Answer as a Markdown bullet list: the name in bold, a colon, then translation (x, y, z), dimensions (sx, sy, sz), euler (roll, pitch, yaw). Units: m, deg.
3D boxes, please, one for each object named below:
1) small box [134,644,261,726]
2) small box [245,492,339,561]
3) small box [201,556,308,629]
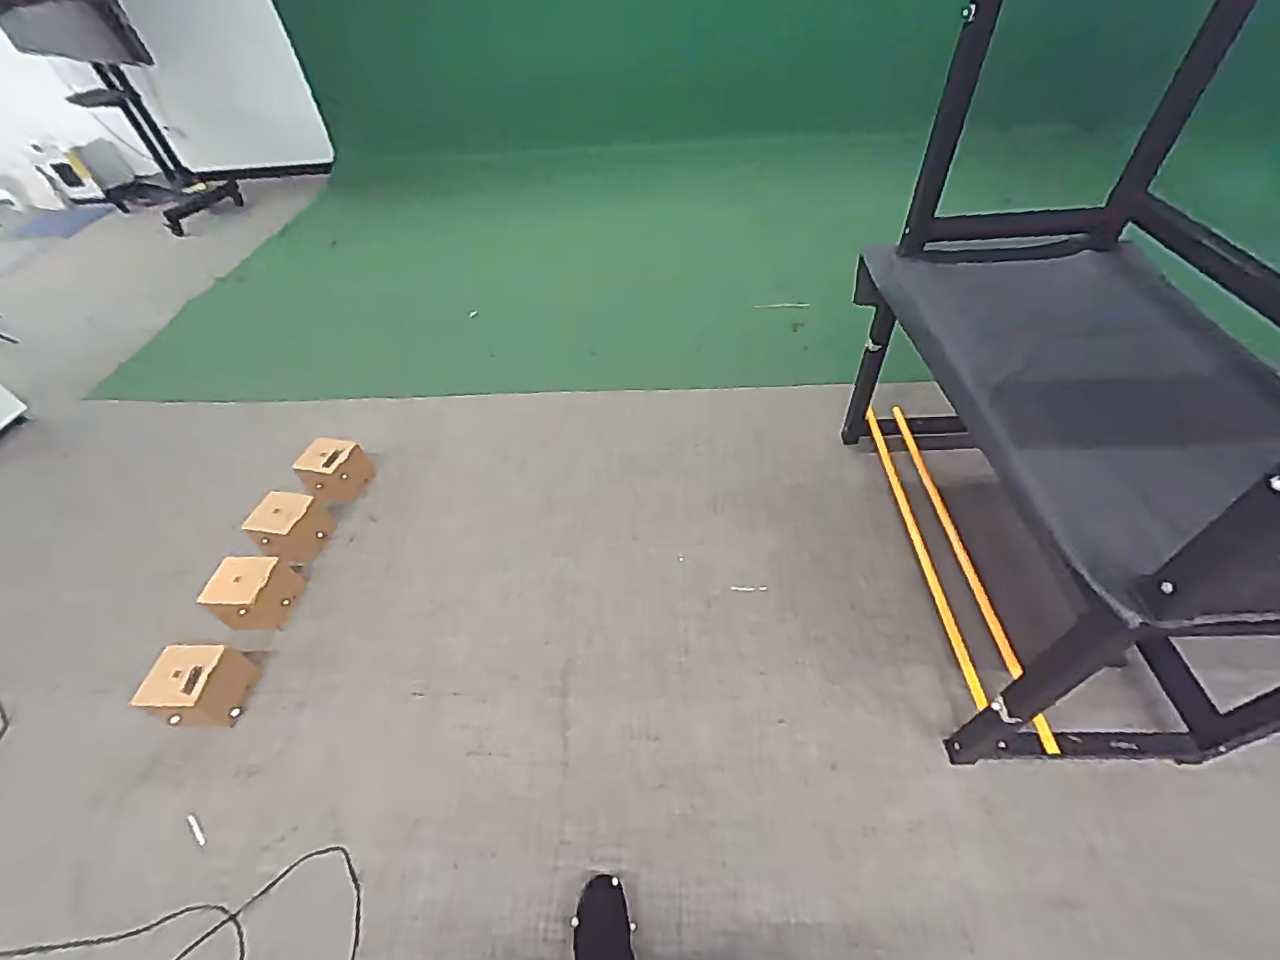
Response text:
- **small box**: translation (-1.199, 0.564, 1.483), dimensions (0.179, 0.176, 0.168), euler (-1, 47, 4)
- **small box**: translation (-1.185, 0.162, 1.854), dimensions (0.179, 0.176, 0.168), euler (6, 49, 9)
- **small box**: translation (-1.189, 0.352, 1.681), dimensions (0.179, 0.176, 0.168), euler (0, 48, 4)
